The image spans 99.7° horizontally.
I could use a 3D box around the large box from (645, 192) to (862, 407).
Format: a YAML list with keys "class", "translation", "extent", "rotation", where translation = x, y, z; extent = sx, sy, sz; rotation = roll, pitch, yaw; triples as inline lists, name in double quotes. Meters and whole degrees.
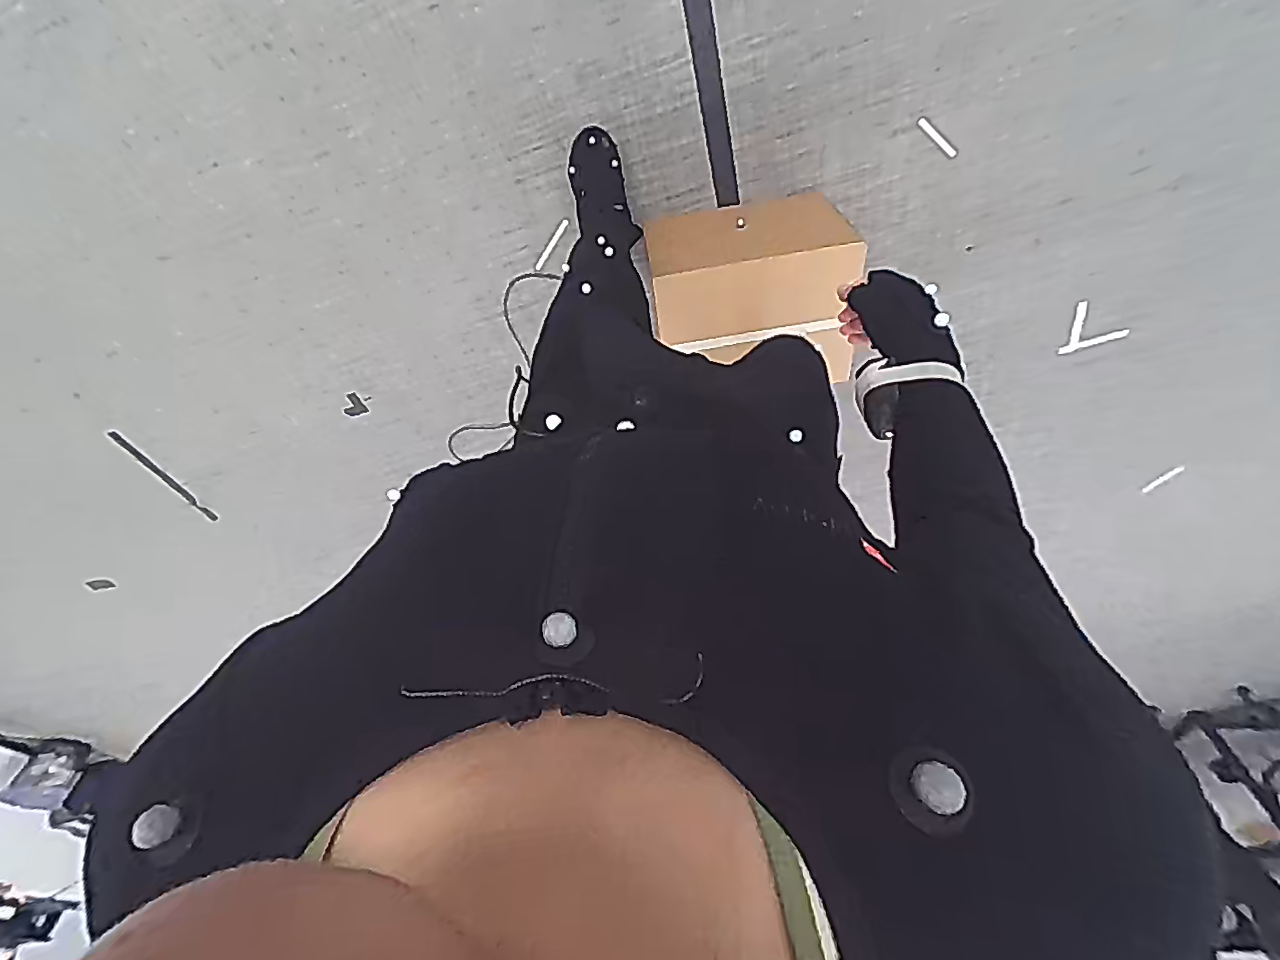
- class: "large box"
  translation: [0.237, -0.408, 1.226]
  extent: [0.408, 0.320, 0.320]
  rotation: [-9, 134, 4]
